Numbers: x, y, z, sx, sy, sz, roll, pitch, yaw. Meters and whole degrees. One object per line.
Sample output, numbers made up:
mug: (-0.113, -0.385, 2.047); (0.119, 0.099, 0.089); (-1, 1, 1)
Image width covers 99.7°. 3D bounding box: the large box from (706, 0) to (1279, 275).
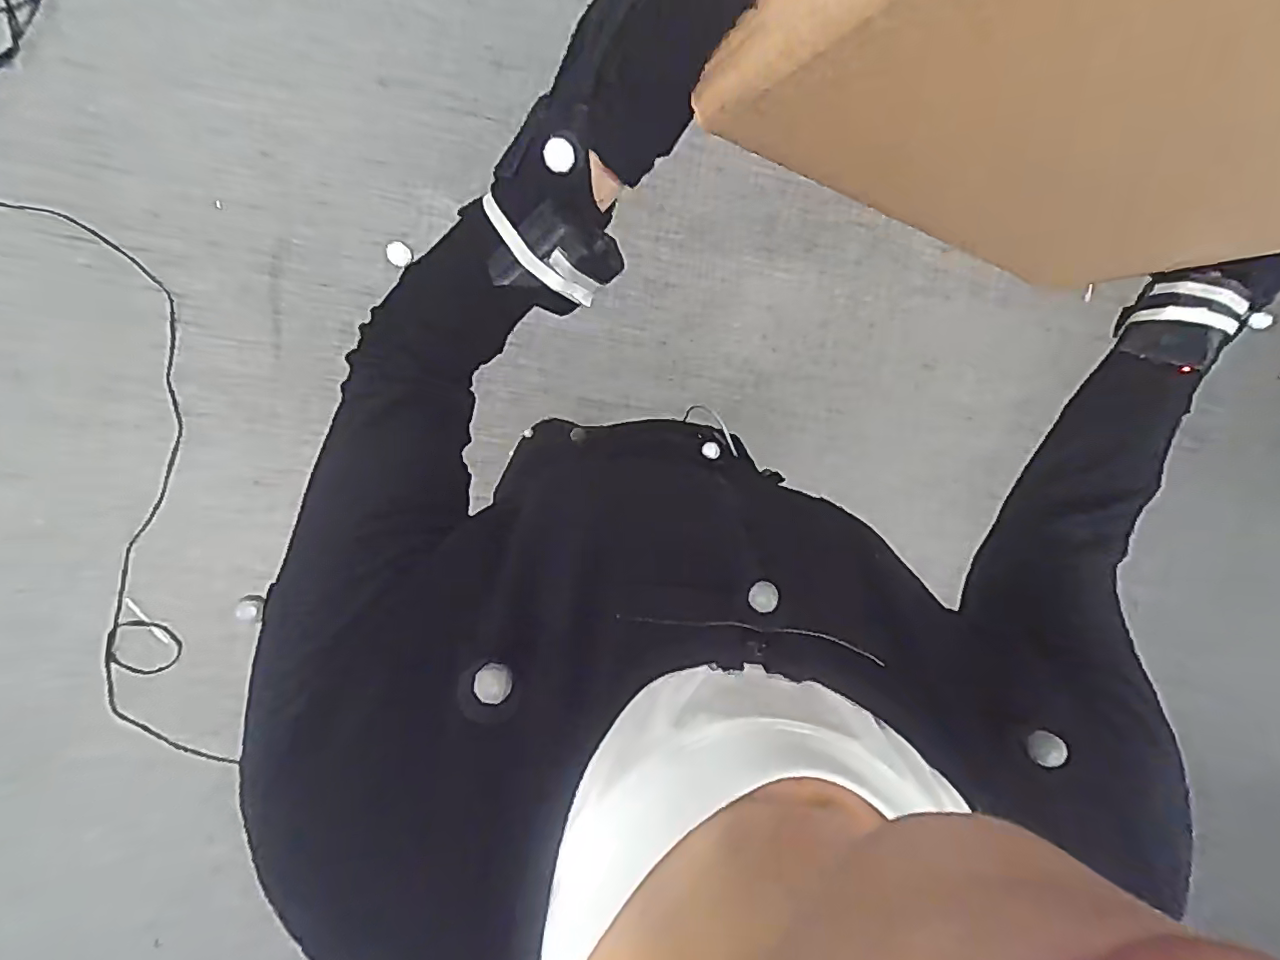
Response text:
large box: (0.280, -0.315, 0.236); (0.408, 0.320, 0.320); (2, 96, -32)
